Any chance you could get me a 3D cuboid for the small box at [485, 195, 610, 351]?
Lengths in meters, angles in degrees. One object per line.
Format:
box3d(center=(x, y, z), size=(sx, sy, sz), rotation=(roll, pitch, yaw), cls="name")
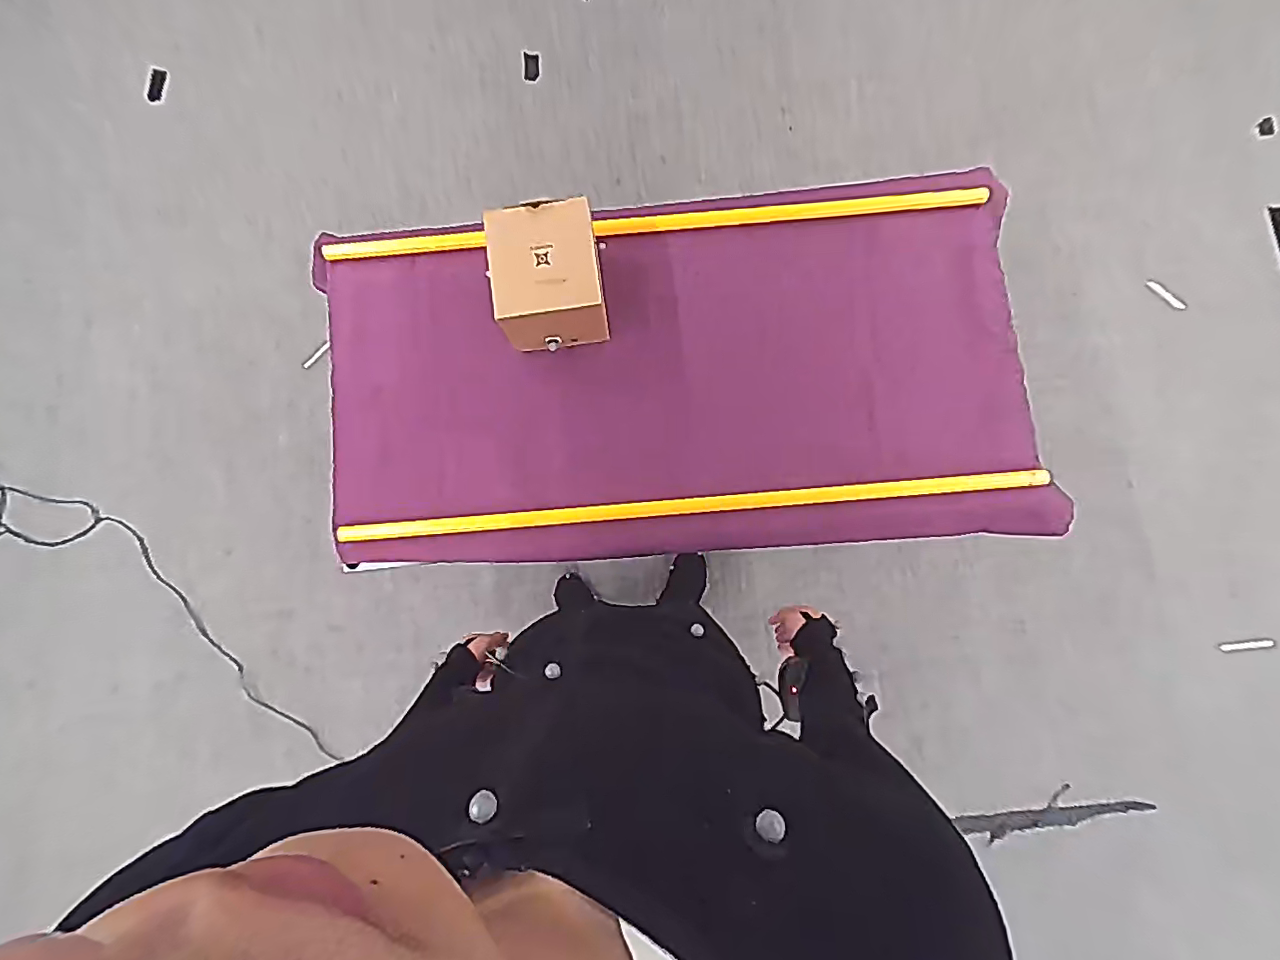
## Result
box3d(center=(-0.145, -0.332, 0.895), size=(0.168, 0.176, 0.179), rotation=(-8, 84, 1), cls="small box")
